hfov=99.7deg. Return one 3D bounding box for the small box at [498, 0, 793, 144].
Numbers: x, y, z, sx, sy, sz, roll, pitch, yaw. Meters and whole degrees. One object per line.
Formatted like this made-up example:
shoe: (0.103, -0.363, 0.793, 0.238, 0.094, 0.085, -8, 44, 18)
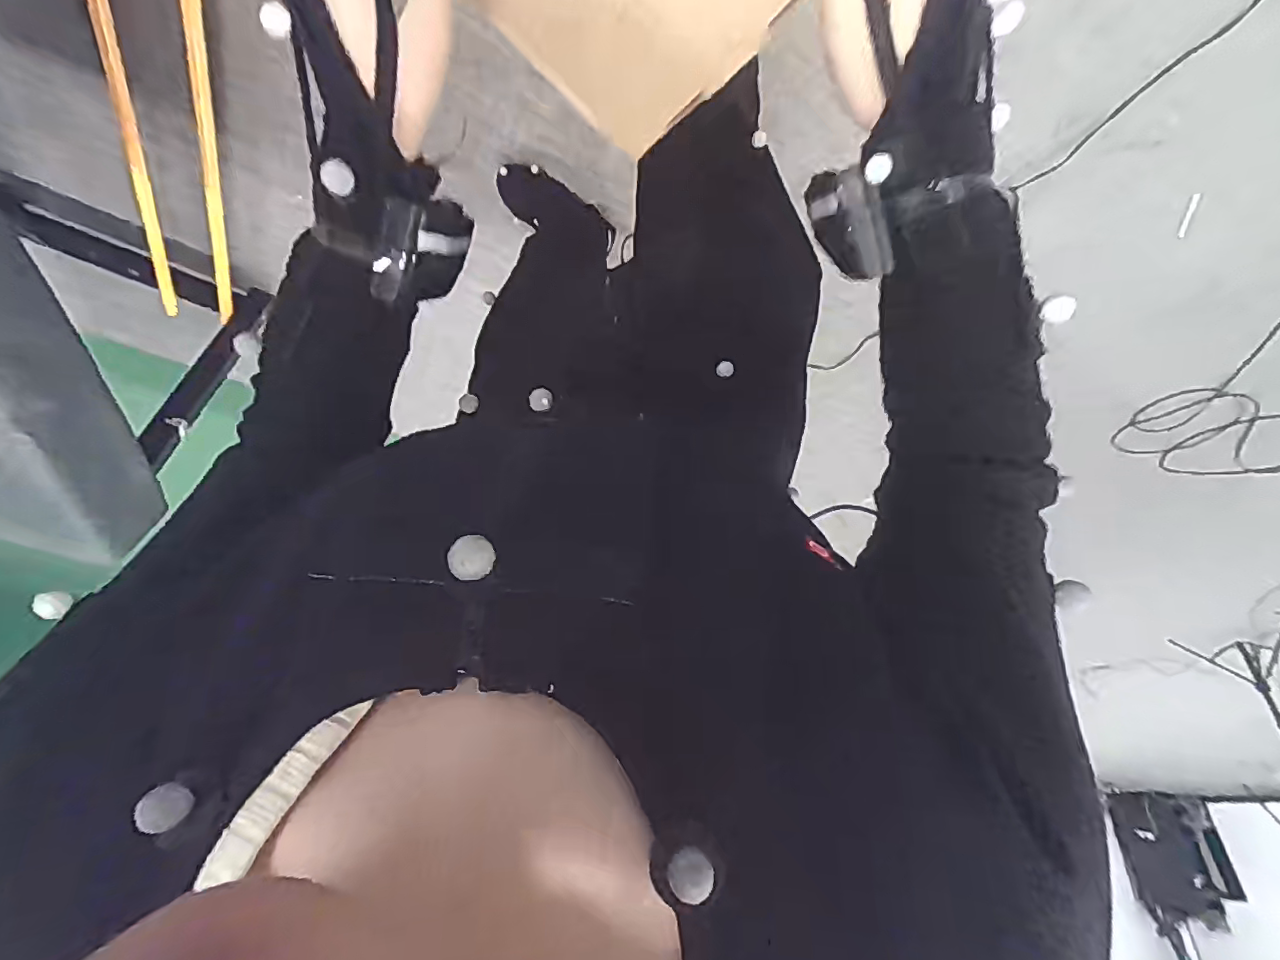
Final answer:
small box: (0.006, -0.340, 0.283, 0.179, 0.176, 0.168, 31, 145, -34)
